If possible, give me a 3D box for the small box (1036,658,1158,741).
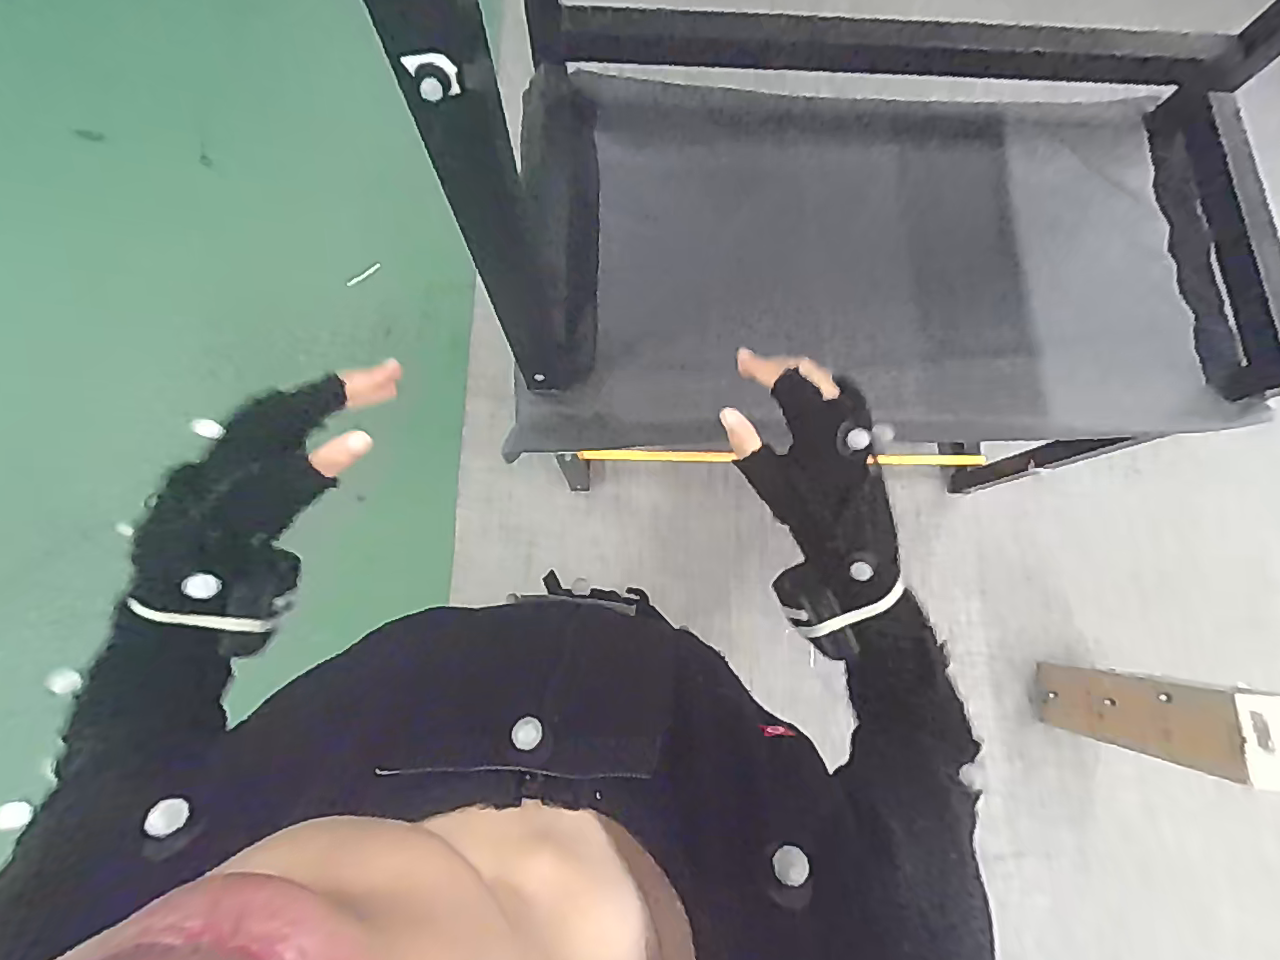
[{"bbox_3d":[1.180,0.563,1.408,0.179,0.176,0.168,6,77,-1],"label":"small box"}]

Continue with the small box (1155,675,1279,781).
[{"bbox_3d":[1.194,0.493,1.089,0.179,0.176,0.168,4,78,-2],"label":"small box"}]
